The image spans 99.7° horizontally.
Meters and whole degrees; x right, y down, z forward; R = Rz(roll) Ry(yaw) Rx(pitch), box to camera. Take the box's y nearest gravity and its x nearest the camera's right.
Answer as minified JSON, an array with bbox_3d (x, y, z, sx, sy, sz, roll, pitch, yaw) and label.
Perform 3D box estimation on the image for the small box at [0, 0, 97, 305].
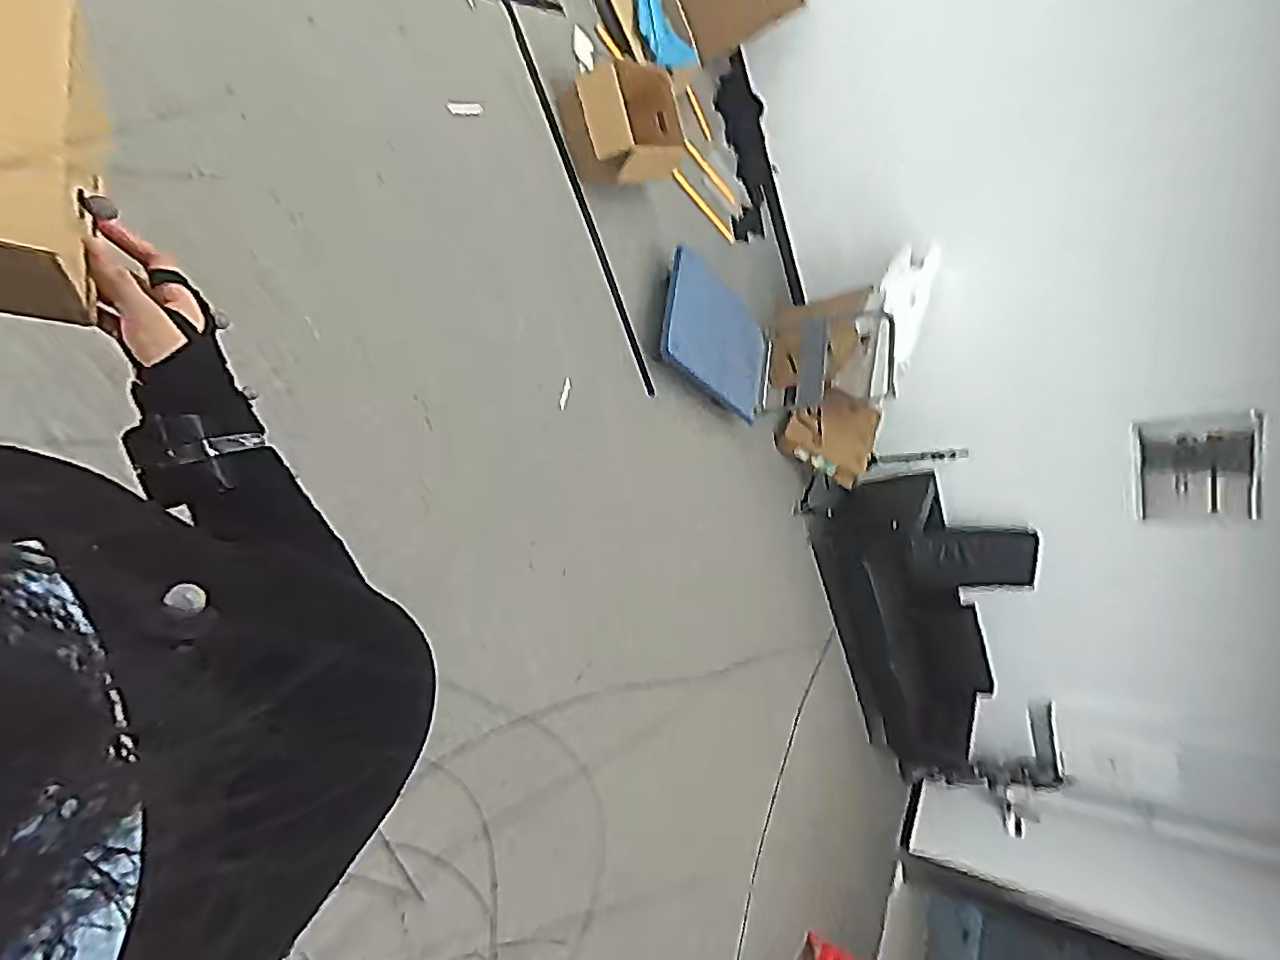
[{"bbox_3d":[-0.436,-0.211,0.303,0.179,0.176,0.168,1,88,-40],"label":"small box"}]
